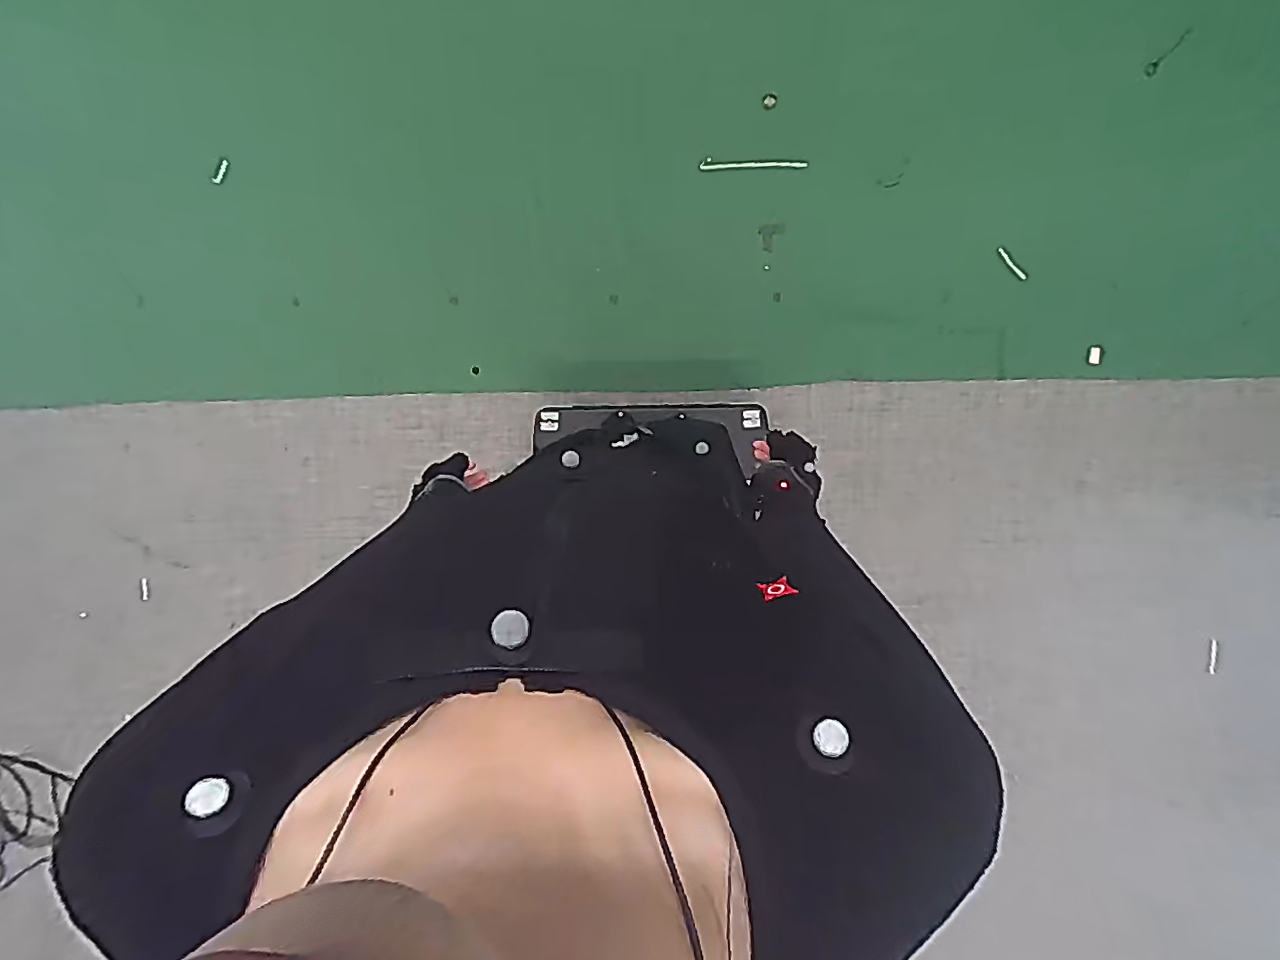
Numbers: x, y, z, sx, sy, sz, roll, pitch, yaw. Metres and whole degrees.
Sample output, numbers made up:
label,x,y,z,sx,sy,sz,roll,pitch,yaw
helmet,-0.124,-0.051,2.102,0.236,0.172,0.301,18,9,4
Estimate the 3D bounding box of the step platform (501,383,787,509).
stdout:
label,x,y,z,sx,sy,sz,roll,pitch,yaw
step platform,0.010,-0.089,1.378,0.684,0.204,0.286,-2,97,2
